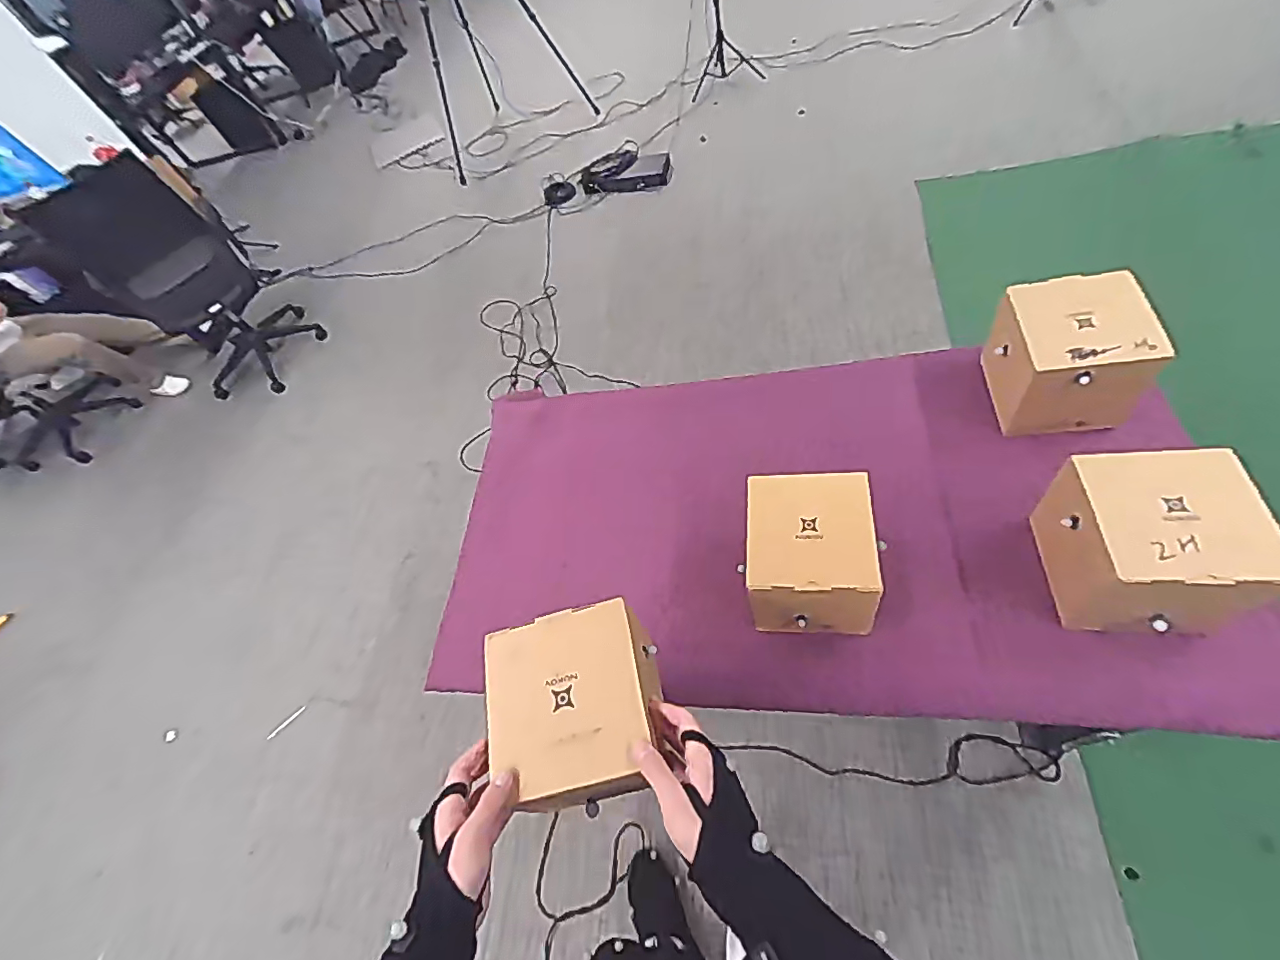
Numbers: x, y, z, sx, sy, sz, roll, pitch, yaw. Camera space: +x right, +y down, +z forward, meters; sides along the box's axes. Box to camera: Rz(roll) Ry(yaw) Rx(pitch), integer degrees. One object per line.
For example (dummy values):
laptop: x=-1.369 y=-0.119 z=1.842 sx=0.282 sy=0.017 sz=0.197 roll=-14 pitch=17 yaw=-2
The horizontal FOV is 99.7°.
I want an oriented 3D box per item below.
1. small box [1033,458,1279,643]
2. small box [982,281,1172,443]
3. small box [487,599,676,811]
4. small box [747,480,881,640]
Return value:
small box: x=0.635 y=0.091 z=0.687 sx=0.168 sy=0.176 sz=0.179 roll=-2 pitch=56 yaw=16
small box: x=0.667 y=-0.180 z=0.856 sx=0.168 sy=0.176 sz=0.179 roll=-4 pitch=58 yaw=16
small box: x=-0.064 y=0.264 z=0.620 sx=0.168 sy=0.176 sz=0.179 roll=-16 pitch=56 yaw=4
small box: x=0.245 y=0.118 z=0.789 sx=0.168 sy=0.176 sz=0.179 roll=-2 pitch=56 yaw=15
